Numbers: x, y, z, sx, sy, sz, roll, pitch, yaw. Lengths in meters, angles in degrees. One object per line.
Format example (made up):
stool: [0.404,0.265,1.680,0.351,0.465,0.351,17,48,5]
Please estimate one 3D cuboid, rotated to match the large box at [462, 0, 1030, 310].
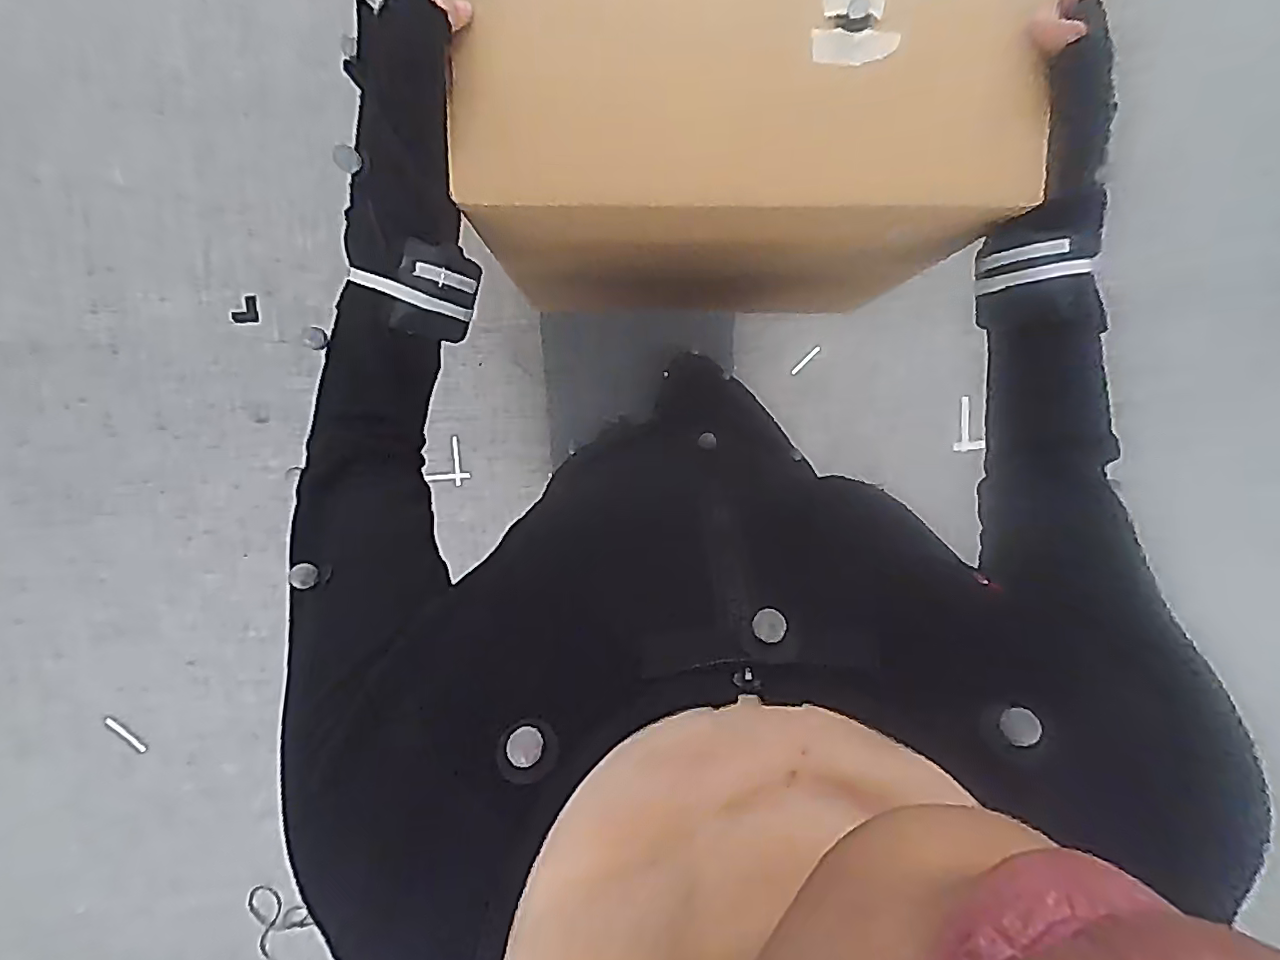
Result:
large box: [0.070,-0.361,0.523,0.408,0.320,0.320,-1,94,-1]
